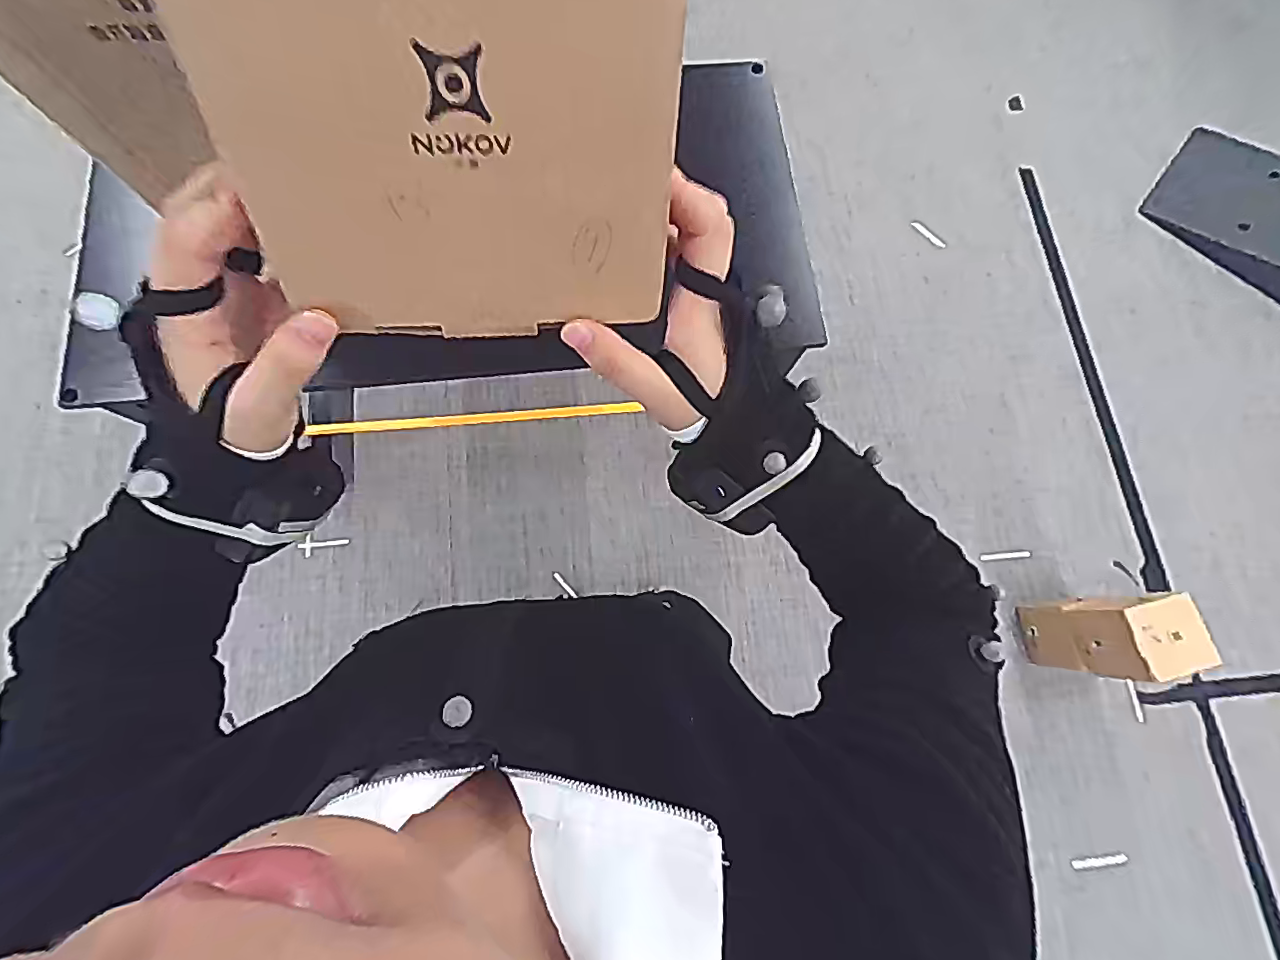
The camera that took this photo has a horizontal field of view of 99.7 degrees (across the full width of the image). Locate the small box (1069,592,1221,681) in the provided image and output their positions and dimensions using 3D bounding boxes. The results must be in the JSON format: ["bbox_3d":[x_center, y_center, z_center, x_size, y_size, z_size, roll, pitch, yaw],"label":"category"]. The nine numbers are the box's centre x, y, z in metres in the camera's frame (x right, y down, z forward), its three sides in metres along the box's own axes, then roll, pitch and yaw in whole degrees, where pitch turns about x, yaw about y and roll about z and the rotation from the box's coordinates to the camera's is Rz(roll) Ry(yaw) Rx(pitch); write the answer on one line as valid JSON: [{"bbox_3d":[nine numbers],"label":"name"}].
[{"bbox_3d":[1.198,0.370,1.297,0.179,0.176,0.168,-13,76,-6],"label":"small box"}]

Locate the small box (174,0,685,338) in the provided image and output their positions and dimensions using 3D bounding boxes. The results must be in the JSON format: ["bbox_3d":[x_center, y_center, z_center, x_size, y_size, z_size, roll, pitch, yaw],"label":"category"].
[{"bbox_3d":[-0.079,-0.189,0.260,0.168,0.179,0.176,-5,46,-9],"label":"small box"}]

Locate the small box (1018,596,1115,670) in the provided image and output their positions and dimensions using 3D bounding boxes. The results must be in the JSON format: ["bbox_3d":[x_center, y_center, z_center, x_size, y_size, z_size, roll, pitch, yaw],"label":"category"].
[{"bbox_3d":[1.178,0.408,1.457,0.179,0.176,0.168,-9,76,-4],"label":"small box"}]
